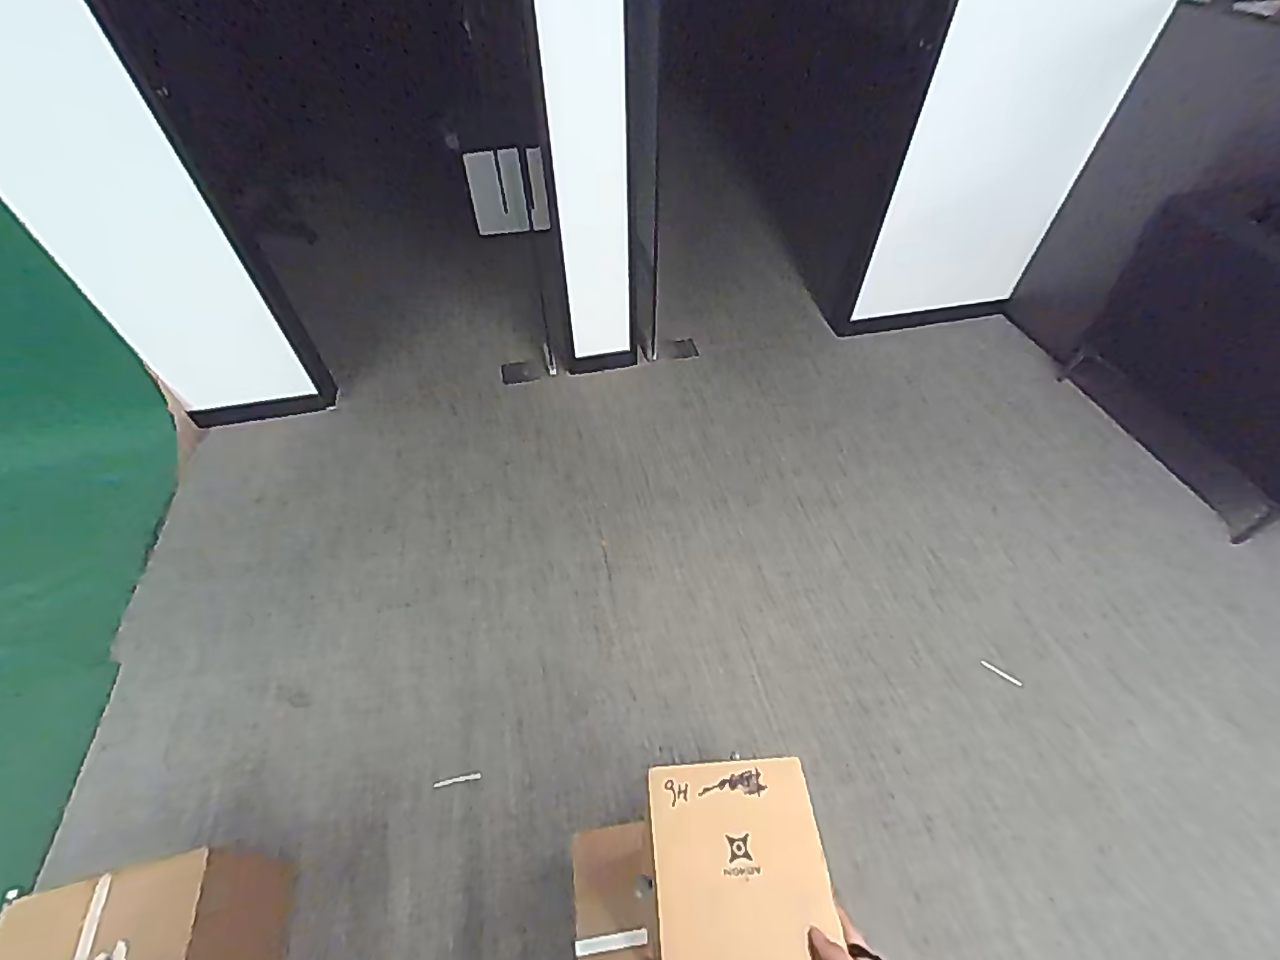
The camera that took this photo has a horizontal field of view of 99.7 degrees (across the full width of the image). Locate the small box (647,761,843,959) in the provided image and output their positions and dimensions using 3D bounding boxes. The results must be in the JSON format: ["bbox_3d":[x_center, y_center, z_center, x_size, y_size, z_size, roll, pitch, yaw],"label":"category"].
[{"bbox_3d":[0.095,0.421,0.578,0.168,0.176,0.179,-3,48,-2],"label":"small box"}]

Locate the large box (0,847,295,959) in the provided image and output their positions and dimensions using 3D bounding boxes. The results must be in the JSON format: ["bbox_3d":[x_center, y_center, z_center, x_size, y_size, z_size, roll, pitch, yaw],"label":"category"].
[{"bbox_3d":[-0.844,0.914,0.912,0.320,0.320,0.408,-11,50,-9],"label":"large box"}]
